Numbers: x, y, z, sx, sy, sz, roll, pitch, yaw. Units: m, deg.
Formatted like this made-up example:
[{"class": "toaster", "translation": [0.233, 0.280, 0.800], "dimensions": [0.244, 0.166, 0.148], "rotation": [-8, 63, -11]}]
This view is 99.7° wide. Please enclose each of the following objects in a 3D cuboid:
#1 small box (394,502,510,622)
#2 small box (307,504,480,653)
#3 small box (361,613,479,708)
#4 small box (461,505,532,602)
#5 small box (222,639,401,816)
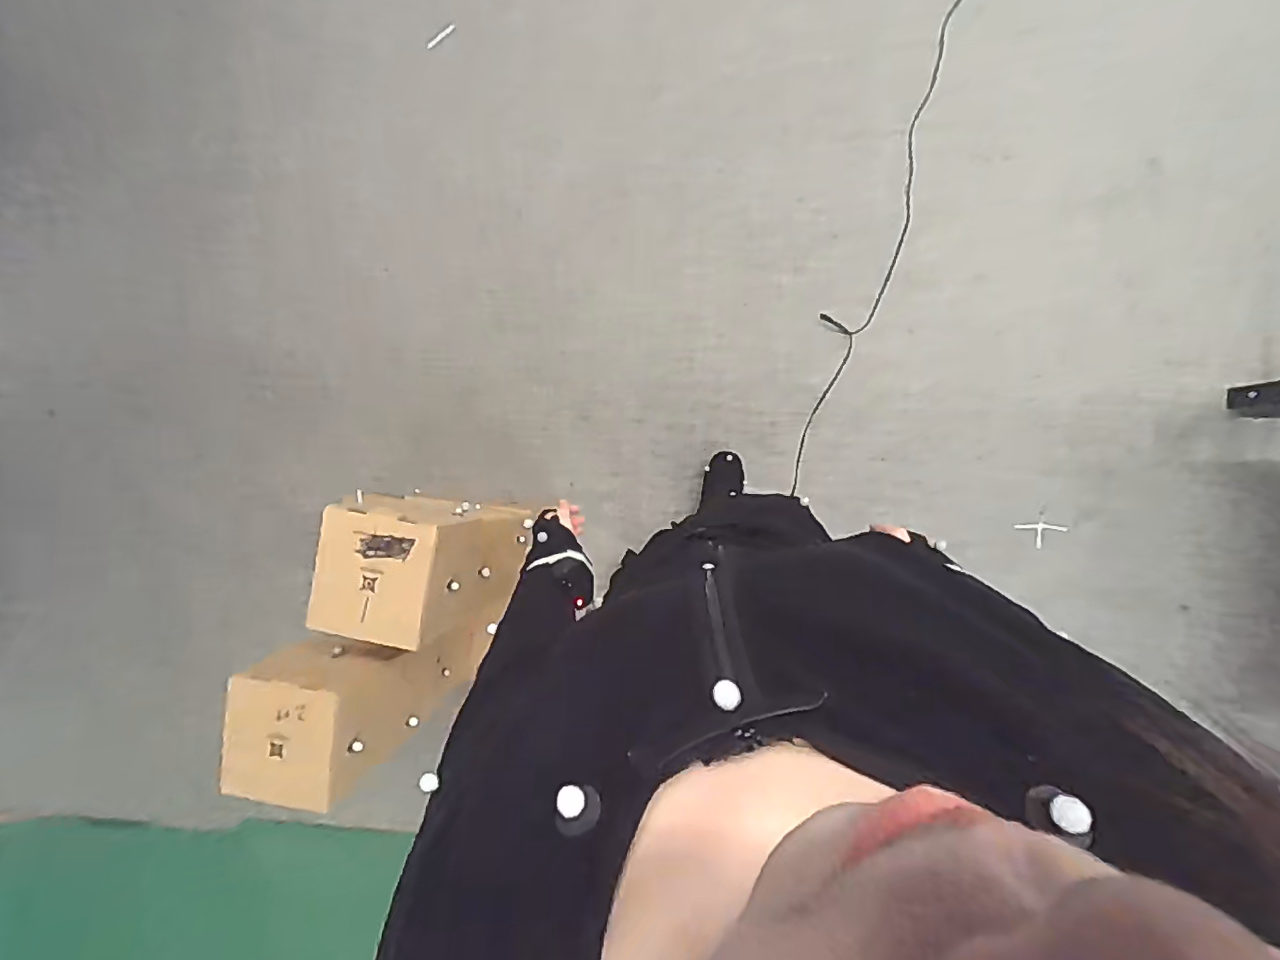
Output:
[{"class": "small box", "translation": [-0.347, 0.138, 0.982], "dimensions": [0.168, 0.176, 0.179], "rotation": [10, 91, 5]}, {"class": "small box", "translation": [-0.358, 0.135, 0.817], "dimensions": [0.168, 0.176, 0.179], "rotation": [10, 91, 5]}, {"class": "small box", "translation": [-0.471, 0.358, 1.160], "dimensions": [0.179, 0.176, 0.168], "rotation": [9, 93, 7]}, {"class": "small box", "translation": [-0.342, 0.147, 1.144], "dimensions": [0.179, 0.176, 0.168], "rotation": [10, 90, 6]}, {"class": "small box", "translation": [-0.492, 0.366, 0.830], "dimensions": [0.168, 0.176, 0.179], "rotation": [7, 92, 6]}]
